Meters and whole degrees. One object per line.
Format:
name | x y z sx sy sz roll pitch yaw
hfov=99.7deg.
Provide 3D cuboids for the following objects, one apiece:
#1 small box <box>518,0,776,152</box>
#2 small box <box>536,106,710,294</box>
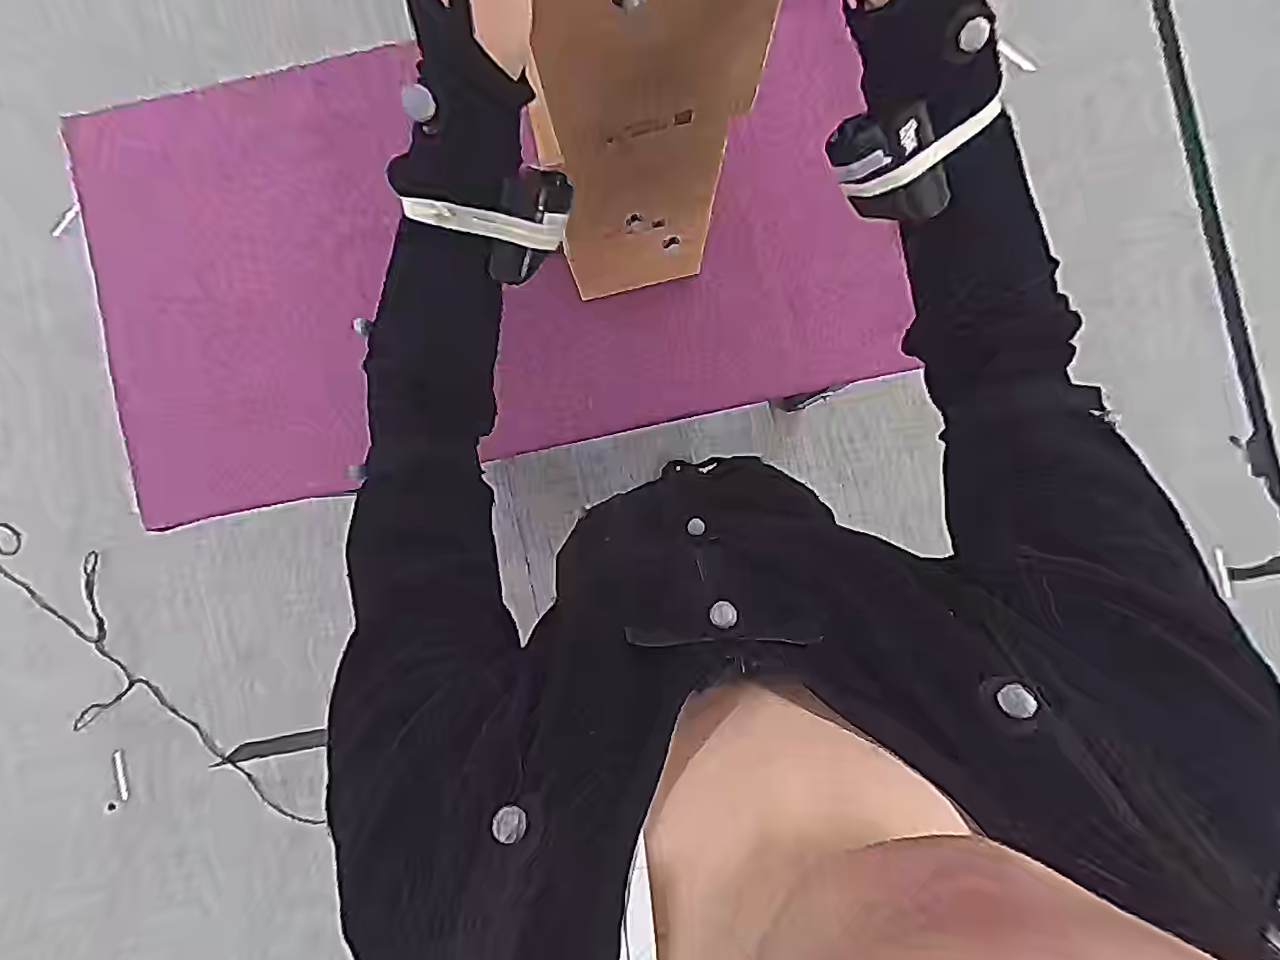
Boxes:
small box | -0.008 -0.374 0.372 0.168 0.176 0.179 -13 88 1
small box | -0.019 -0.364 0.700 0.179 0.176 0.168 -13 88 2
